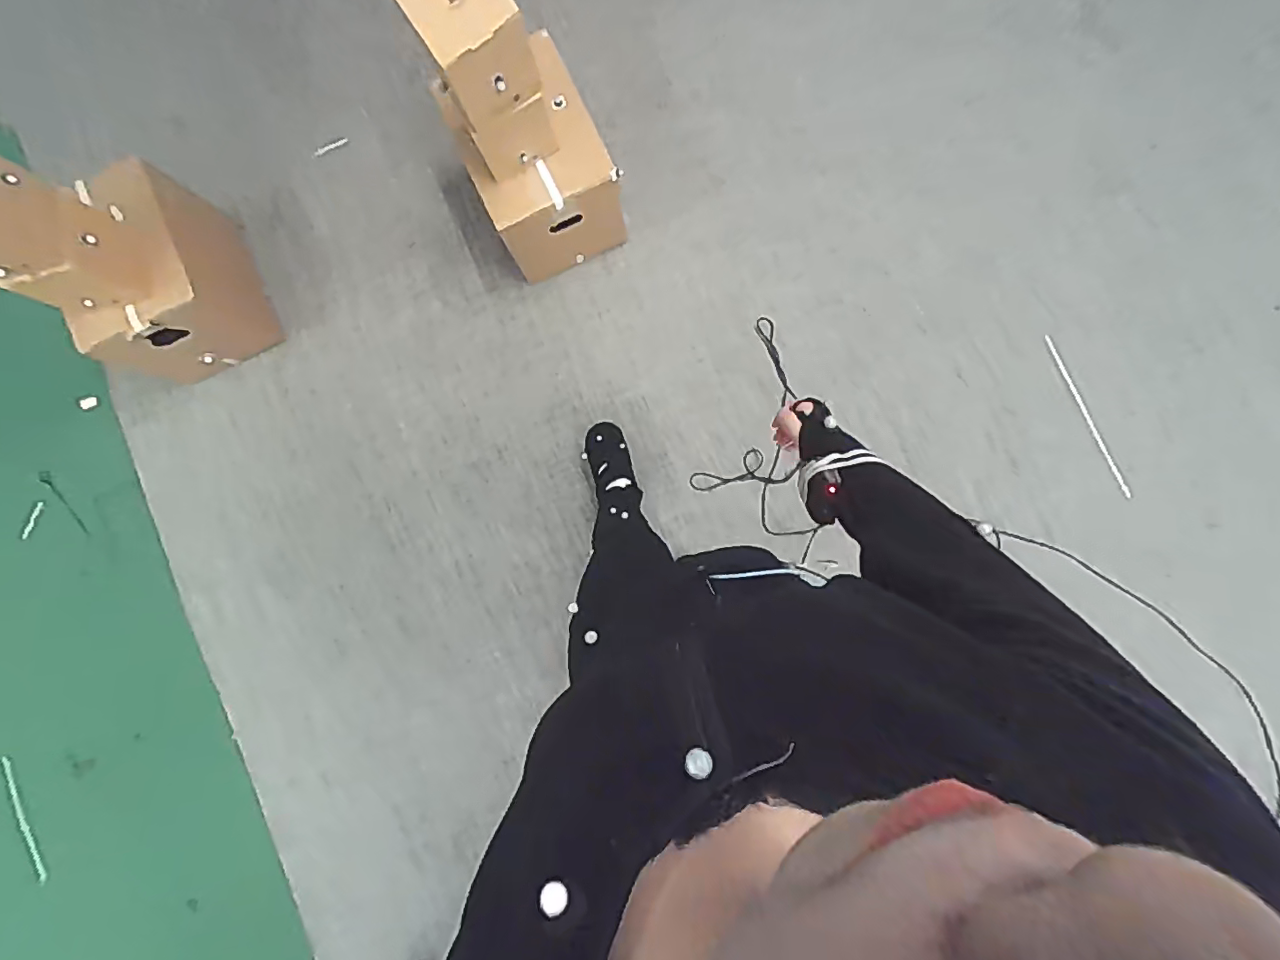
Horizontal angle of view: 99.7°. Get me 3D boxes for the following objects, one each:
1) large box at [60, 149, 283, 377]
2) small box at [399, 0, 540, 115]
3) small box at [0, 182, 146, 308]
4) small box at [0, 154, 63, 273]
[{"bbox_3d":[-1.252,-0.544,1.431,0.320,0.320,0.408,-25,86,1],"label":"large box"},{"bbox_3d":[-0.307,-0.819,0.992,0.168,0.176,0.179,-33,87,2],"label":"small box"},{"bbox_3d":[-1.248,-0.506,1.186,0.168,0.176,0.179,-14,87,3],"label":"small box"},{"bbox_3d":[-1.265,-0.520,1.024,0.168,0.176,0.179,-11,88,3],"label":"small box"}]
